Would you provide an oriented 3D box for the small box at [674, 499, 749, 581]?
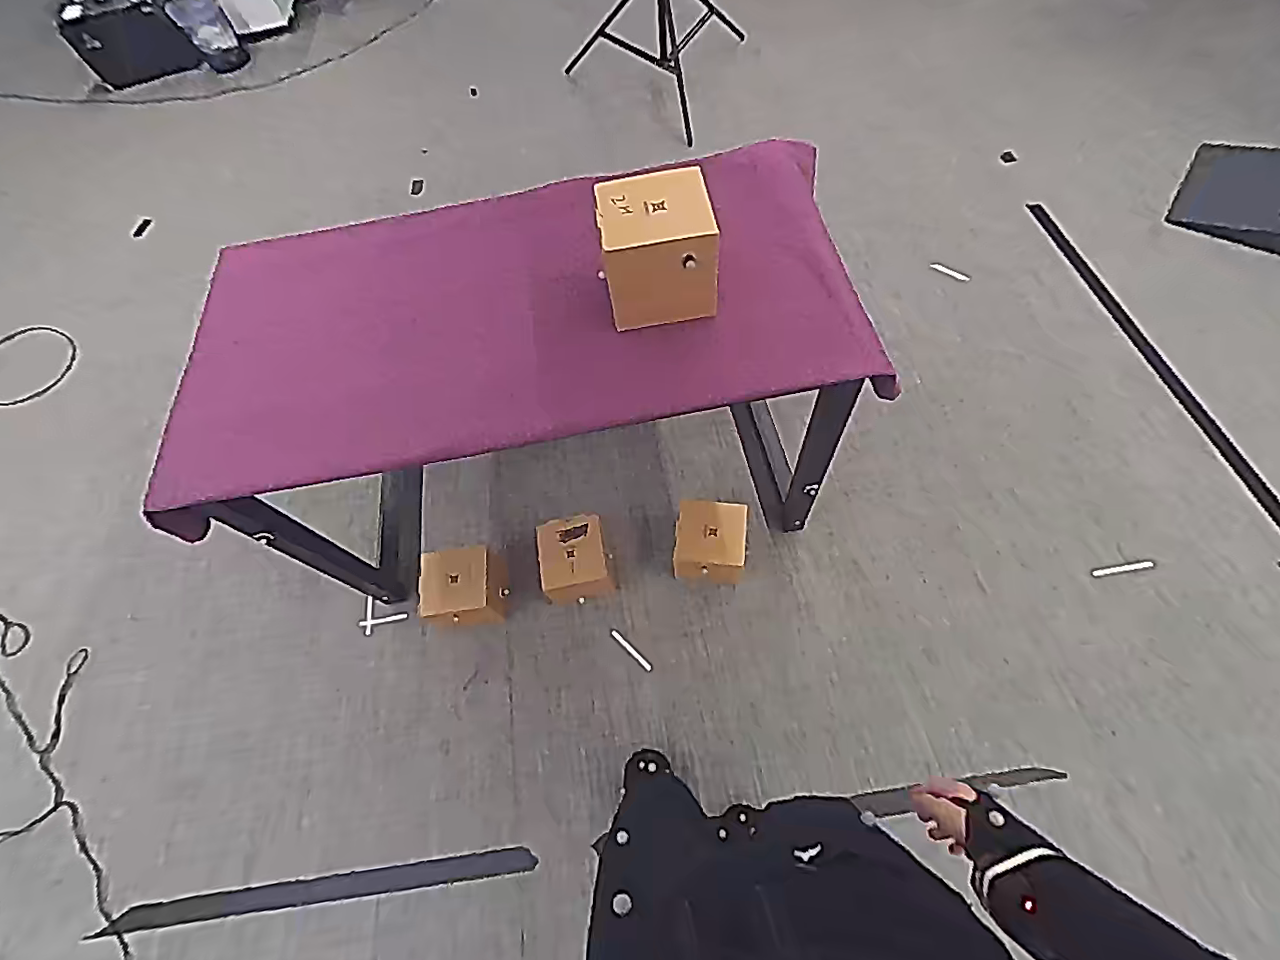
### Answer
[{"bbox_3d":[0.190,0.163,1.426,0.179,0.176,0.168,4,64,10],"label":"small box"}]

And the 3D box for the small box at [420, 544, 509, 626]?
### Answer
[{"bbox_3d":[-0.460,0.284,1.439,0.179,0.176,0.168,-8,63,1],"label":"small box"}]

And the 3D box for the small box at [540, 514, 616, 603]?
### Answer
[{"bbox_3d":[-0.162,0.212,1.439,0.168,0.176,0.179,-11,63,1],"label":"small box"}]

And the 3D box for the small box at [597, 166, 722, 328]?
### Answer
[{"bbox_3d":[0.033,-0.379,0.895,0.179,0.176,0.168,-9,62,2],"label":"small box"}]
